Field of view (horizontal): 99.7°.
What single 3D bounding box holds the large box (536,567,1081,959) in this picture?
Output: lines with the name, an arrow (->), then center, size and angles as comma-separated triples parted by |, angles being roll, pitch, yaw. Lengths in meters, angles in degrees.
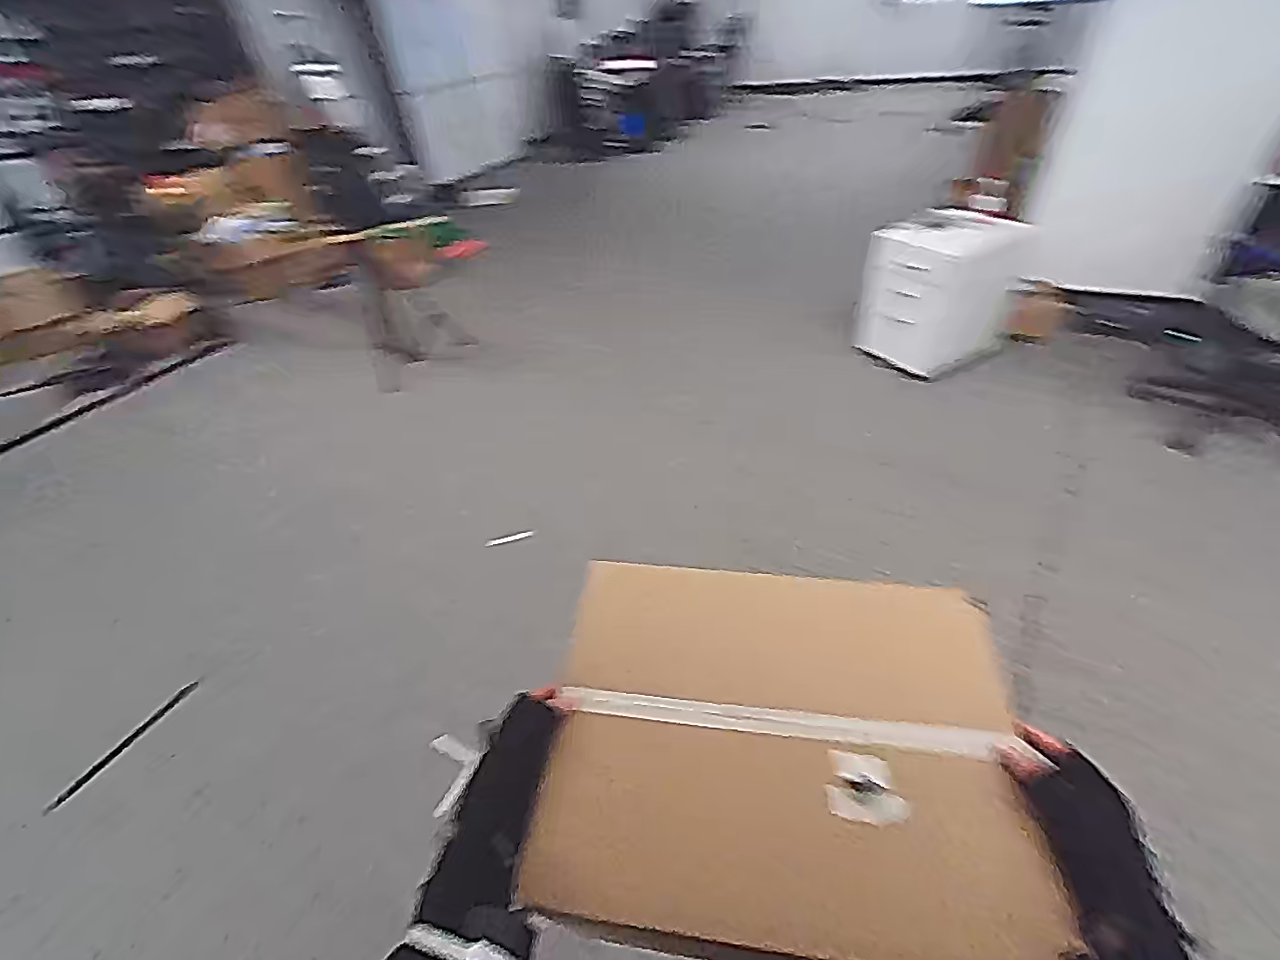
large box -> 0.136, 0.322, 0.605 | 0.408, 0.320, 0.320 | 4, 48, 7
